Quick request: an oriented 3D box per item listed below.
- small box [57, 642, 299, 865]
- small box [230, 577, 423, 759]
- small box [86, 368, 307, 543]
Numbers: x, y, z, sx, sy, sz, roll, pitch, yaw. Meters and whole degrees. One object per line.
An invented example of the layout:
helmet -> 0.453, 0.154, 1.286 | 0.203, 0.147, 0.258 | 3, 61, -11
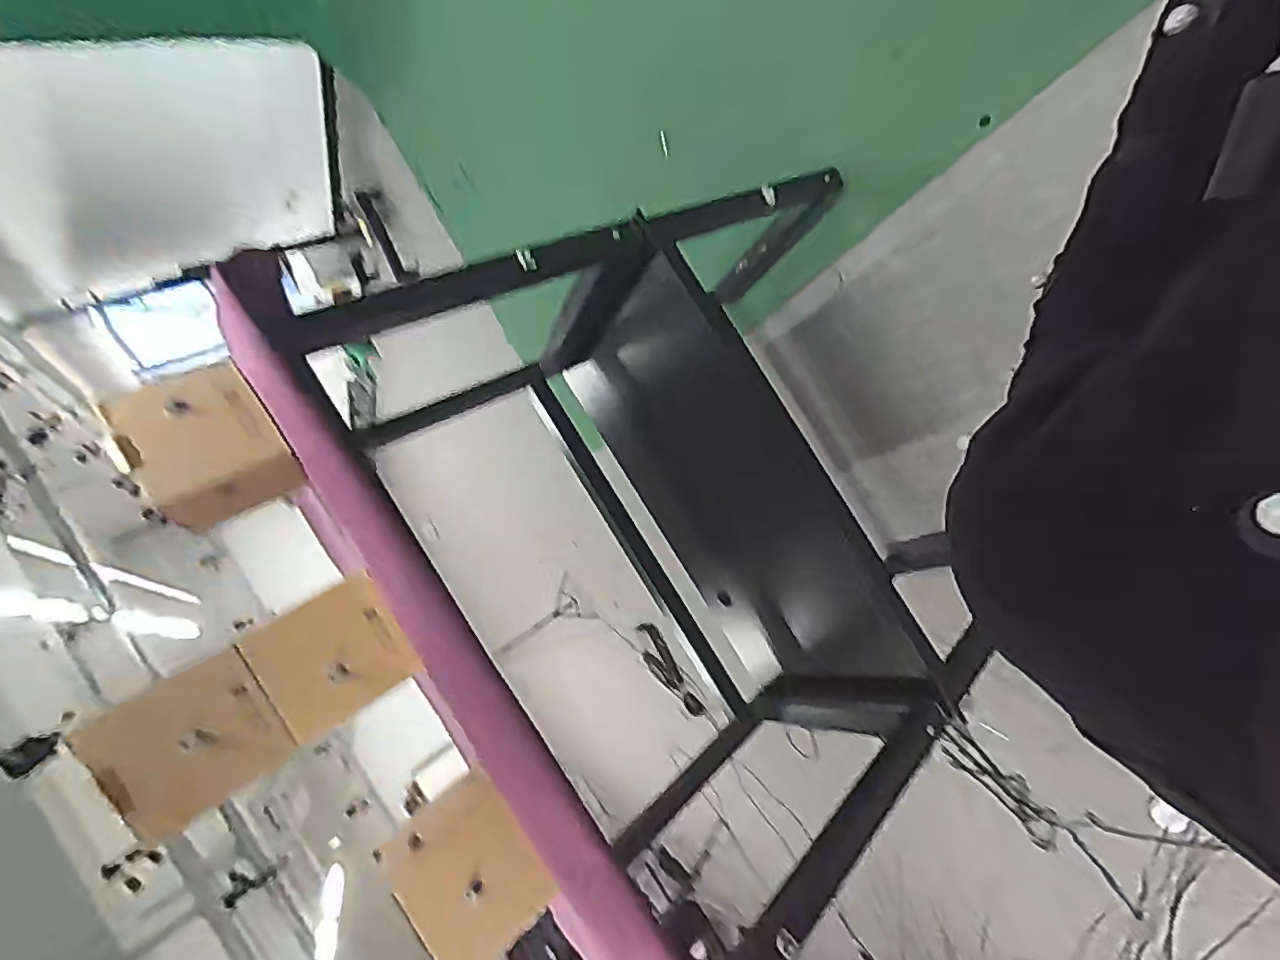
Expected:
small box -> -0.553, 0.324, 0.686 | 0.168, 0.176, 0.179 | 61, 150, -4
small box -> -0.429, 0.251, 0.766 | 0.168, 0.176, 0.179 | 61, 151, -3
small box -> -0.617, -0.035, 0.781 | 0.168, 0.176, 0.179 | 57, 151, 3
